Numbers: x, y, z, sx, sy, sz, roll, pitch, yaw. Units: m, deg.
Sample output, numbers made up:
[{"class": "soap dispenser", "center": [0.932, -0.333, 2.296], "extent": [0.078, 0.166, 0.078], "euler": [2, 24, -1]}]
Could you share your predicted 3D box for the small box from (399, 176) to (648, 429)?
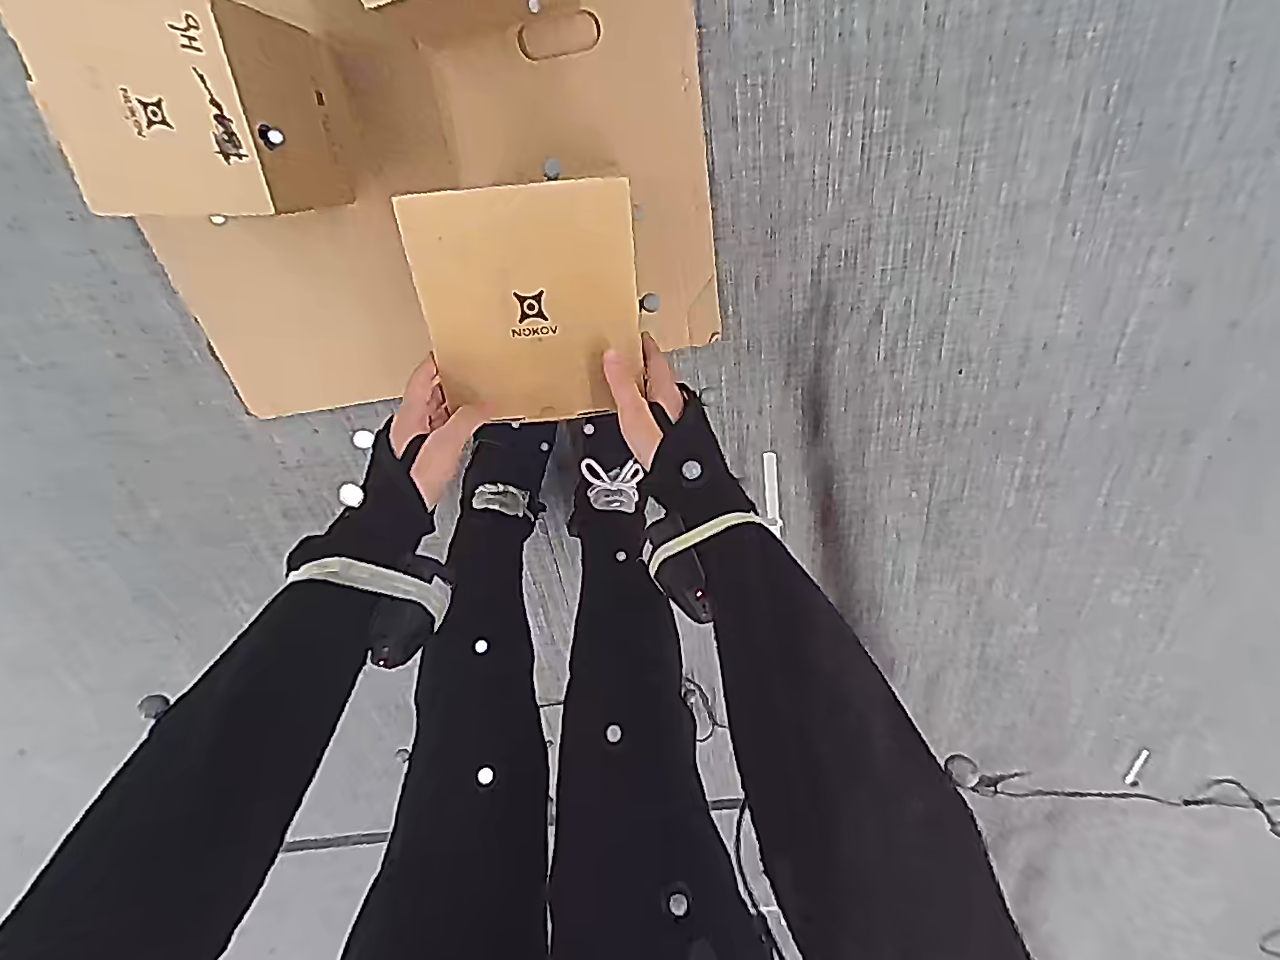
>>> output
[{"class": "small box", "center": [-0.084, -0.165, 0.480], "extent": [0.168, 0.176, 0.179], "euler": [-5, 121, 1]}]

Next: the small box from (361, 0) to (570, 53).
[{"class": "small box", "center": [-0.162, -0.506, 0.469], "extent": [0.179, 0.176, 0.168], "euler": [-13, 119, 5]}]

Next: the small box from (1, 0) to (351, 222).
[{"class": "small box", "center": [-0.431, -0.358, 0.544], "extent": [0.179, 0.176, 0.168], "euler": [0, 121, 0]}]
